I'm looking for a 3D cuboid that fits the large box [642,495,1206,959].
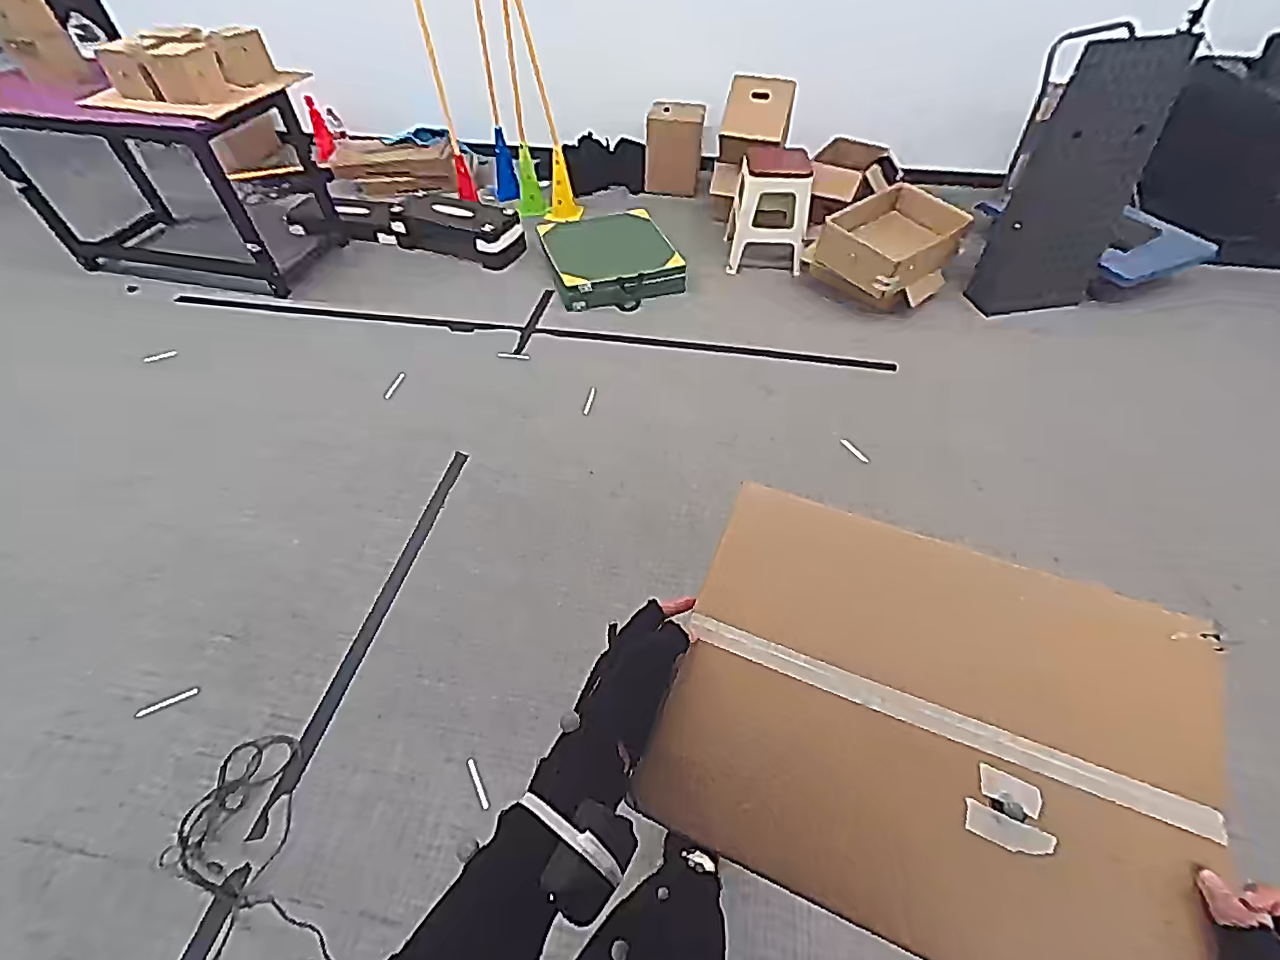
[{"bbox_3d":[0.251,0.266,0.587,0.408,0.320,0.320,18,67,16],"label":"large box"}]
